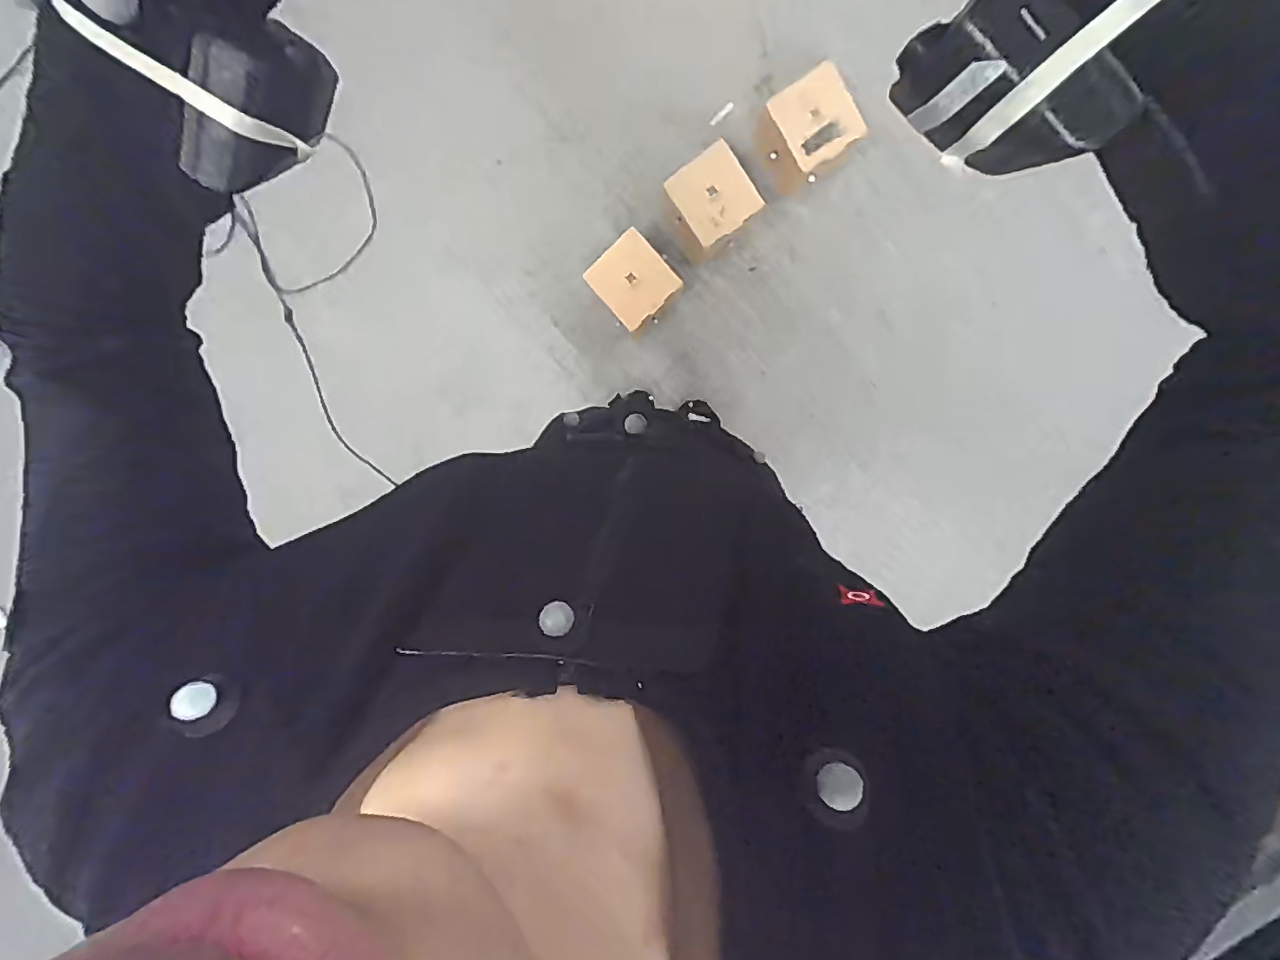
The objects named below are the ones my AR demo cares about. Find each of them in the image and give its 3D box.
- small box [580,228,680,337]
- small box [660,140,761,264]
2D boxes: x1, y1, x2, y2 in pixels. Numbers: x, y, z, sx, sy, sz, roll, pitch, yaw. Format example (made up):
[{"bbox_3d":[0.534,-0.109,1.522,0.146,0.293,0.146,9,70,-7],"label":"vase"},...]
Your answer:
[{"bbox_3d":[-0.023,-0.470,1.322,0.168,0.176,0.179,-43,96,7],"label":"small box"},{"bbox_3d":[0.158,-0.649,1.289,0.168,0.176,0.179,-35,97,7],"label":"small box"}]
